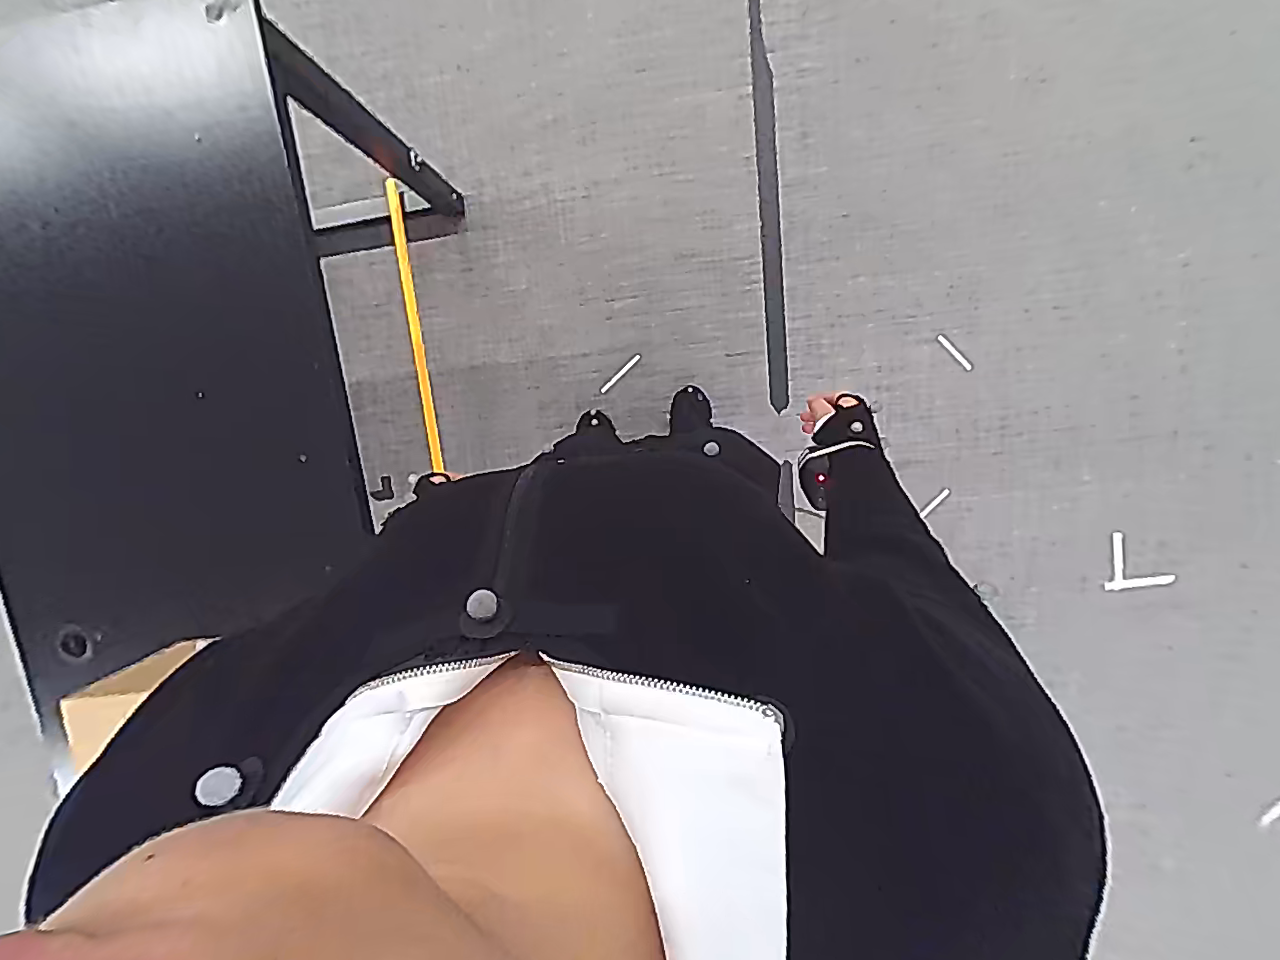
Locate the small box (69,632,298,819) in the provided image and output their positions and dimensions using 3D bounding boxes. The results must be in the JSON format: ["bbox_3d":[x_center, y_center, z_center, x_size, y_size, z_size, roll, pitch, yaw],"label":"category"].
[{"bbox_3d":[-0.622,0.336,0.763,0.168,0.176,0.179,-7,97,5],"label":"small box"}]
